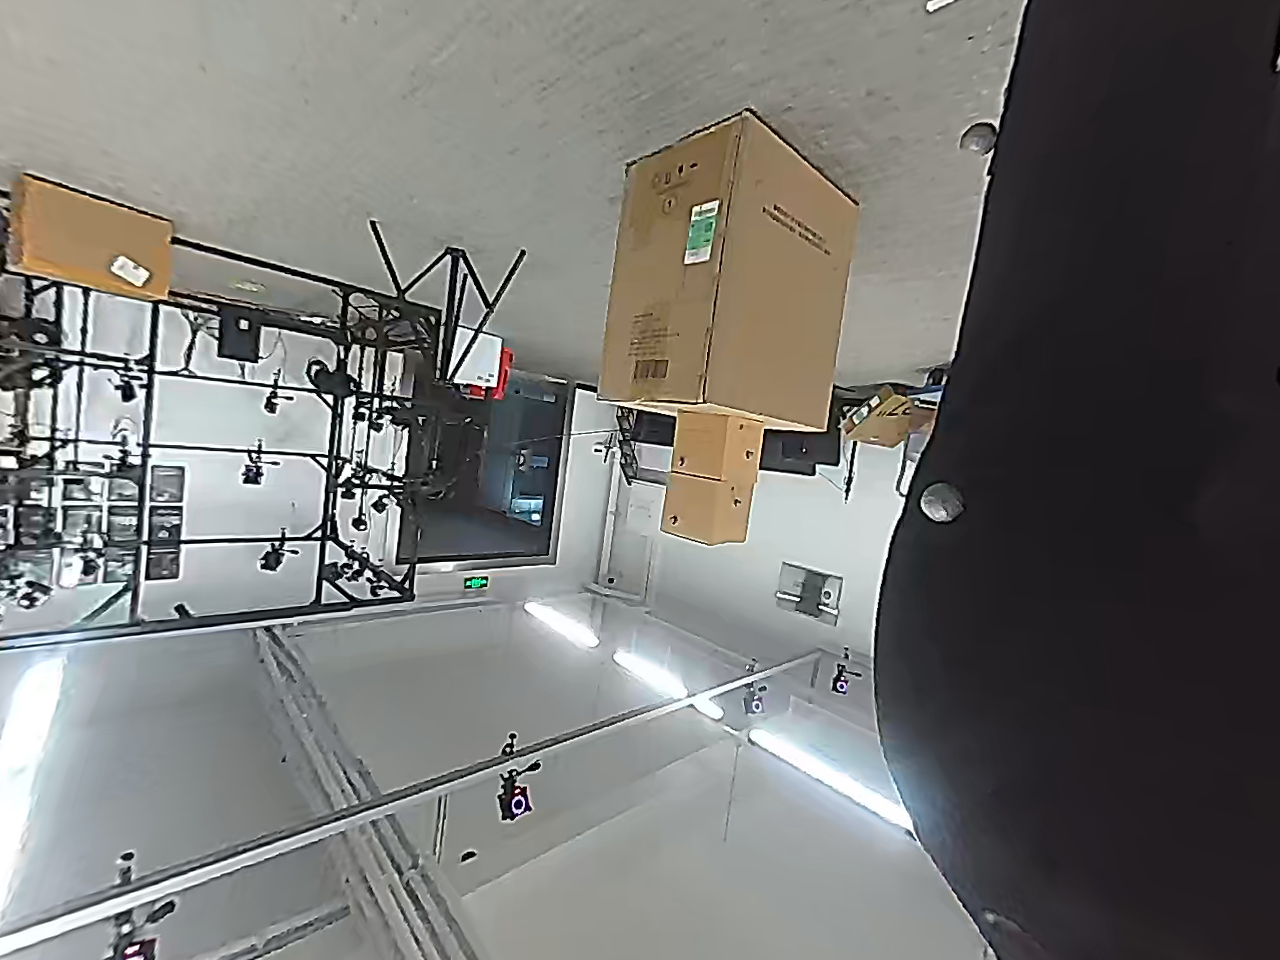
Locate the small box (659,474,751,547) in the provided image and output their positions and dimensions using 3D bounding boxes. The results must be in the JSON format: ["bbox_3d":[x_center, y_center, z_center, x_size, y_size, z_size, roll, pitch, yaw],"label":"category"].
[{"bbox_3d":[0.178,0.074,1.451,0.179,0.176,0.168,11,-173,43],"label":"small box"}]

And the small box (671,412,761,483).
[{"bbox_3d":[0.206,-0.089,1.436,0.168,0.176,0.179,3,-174,-44],"label":"small box"}]
